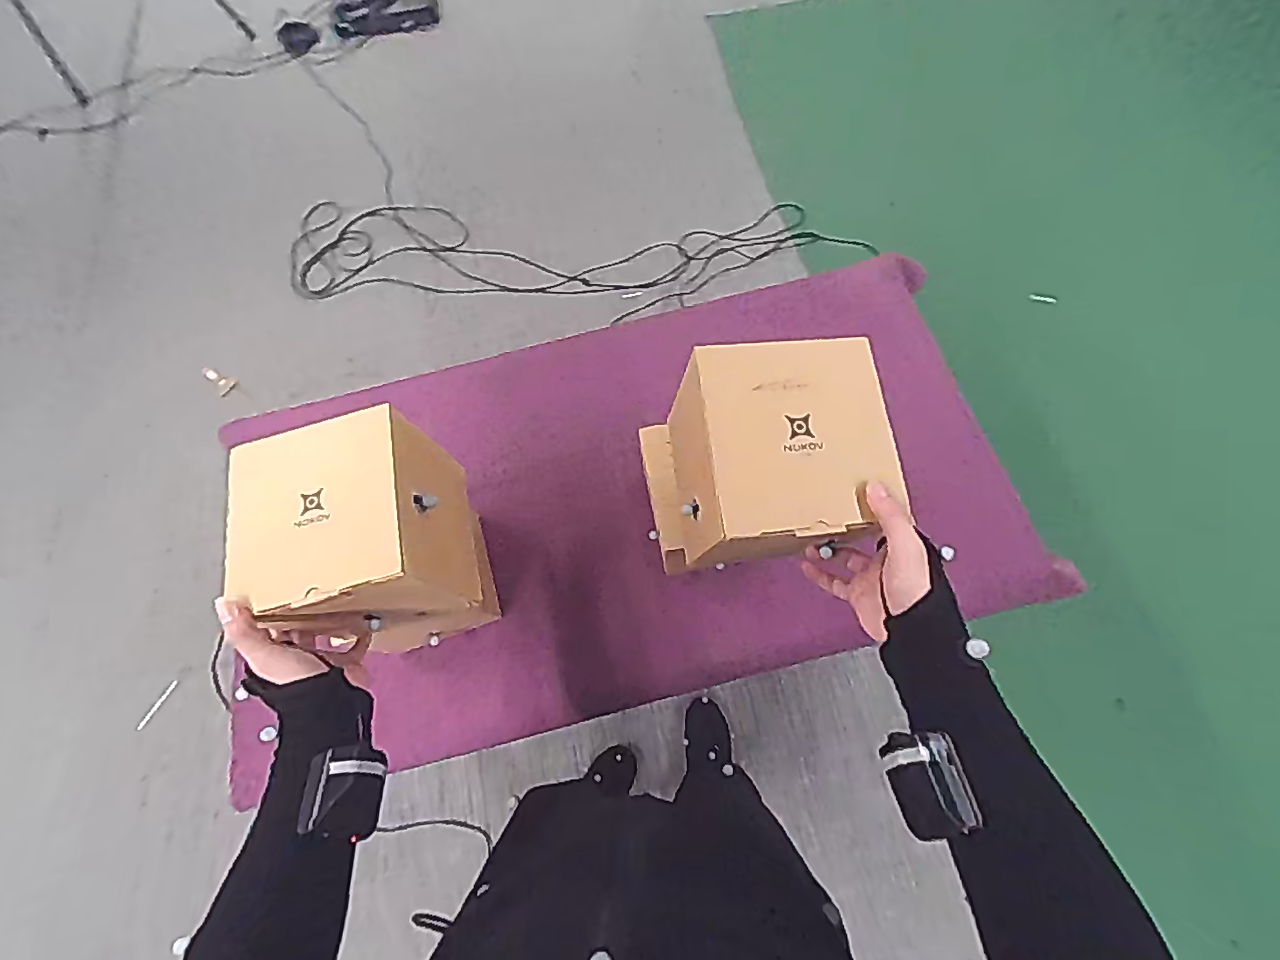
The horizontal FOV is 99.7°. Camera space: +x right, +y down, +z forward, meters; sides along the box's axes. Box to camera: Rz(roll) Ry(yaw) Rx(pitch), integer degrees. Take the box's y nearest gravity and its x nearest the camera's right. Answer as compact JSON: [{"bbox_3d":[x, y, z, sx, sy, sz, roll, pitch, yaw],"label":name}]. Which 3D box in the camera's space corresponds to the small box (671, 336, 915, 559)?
[{"bbox_3d":[0.129,-0.020,0.528,0.168,0.176,0.179,-3,74,-7],"label":"small box"}]

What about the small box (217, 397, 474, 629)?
[{"bbox_3d":[-0.288,0.044,0.561,0.168,0.176,0.179,-15,69,1],"label":"small box"}]

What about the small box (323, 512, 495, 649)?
[{"bbox_3d":[-0.319,0.122,0.754,0.168,0.176,0.179,-18,70,-3],"label":"small box"}]
